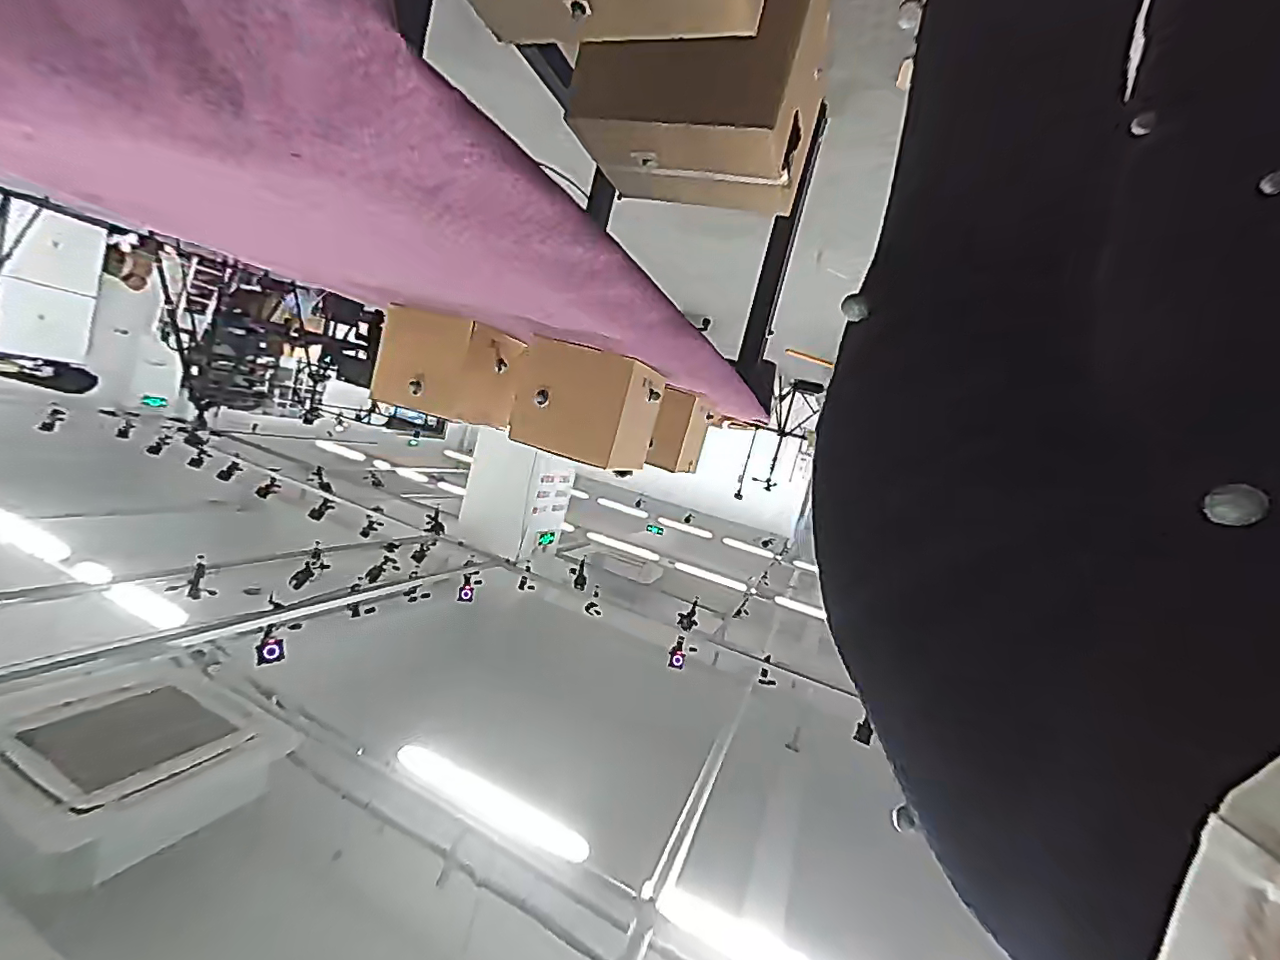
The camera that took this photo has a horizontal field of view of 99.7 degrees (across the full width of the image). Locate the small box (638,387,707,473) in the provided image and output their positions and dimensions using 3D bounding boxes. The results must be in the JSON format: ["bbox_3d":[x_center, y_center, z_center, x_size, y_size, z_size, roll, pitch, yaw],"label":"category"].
[{"bbox_3d":[0.041,-0.119,1.217,0.179,0.176,0.168,19,-174,20],"label":"small box"}]

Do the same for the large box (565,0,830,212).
[{"bbox_3d":[0.126,-0.771,1.066,0.408,0.320,0.320,18,-174,19],"label":"large box"}]

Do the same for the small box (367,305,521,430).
[{"bbox_3d":[-0.336,-0.196,0.952,0.179,0.176,0.168,15,-175,17],"label":"small box"}]

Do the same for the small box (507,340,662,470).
[{"bbox_3d":[-0.083,-0.120,0.876,0.179,0.176,0.168,17,-173,18],"label":"small box"}]
